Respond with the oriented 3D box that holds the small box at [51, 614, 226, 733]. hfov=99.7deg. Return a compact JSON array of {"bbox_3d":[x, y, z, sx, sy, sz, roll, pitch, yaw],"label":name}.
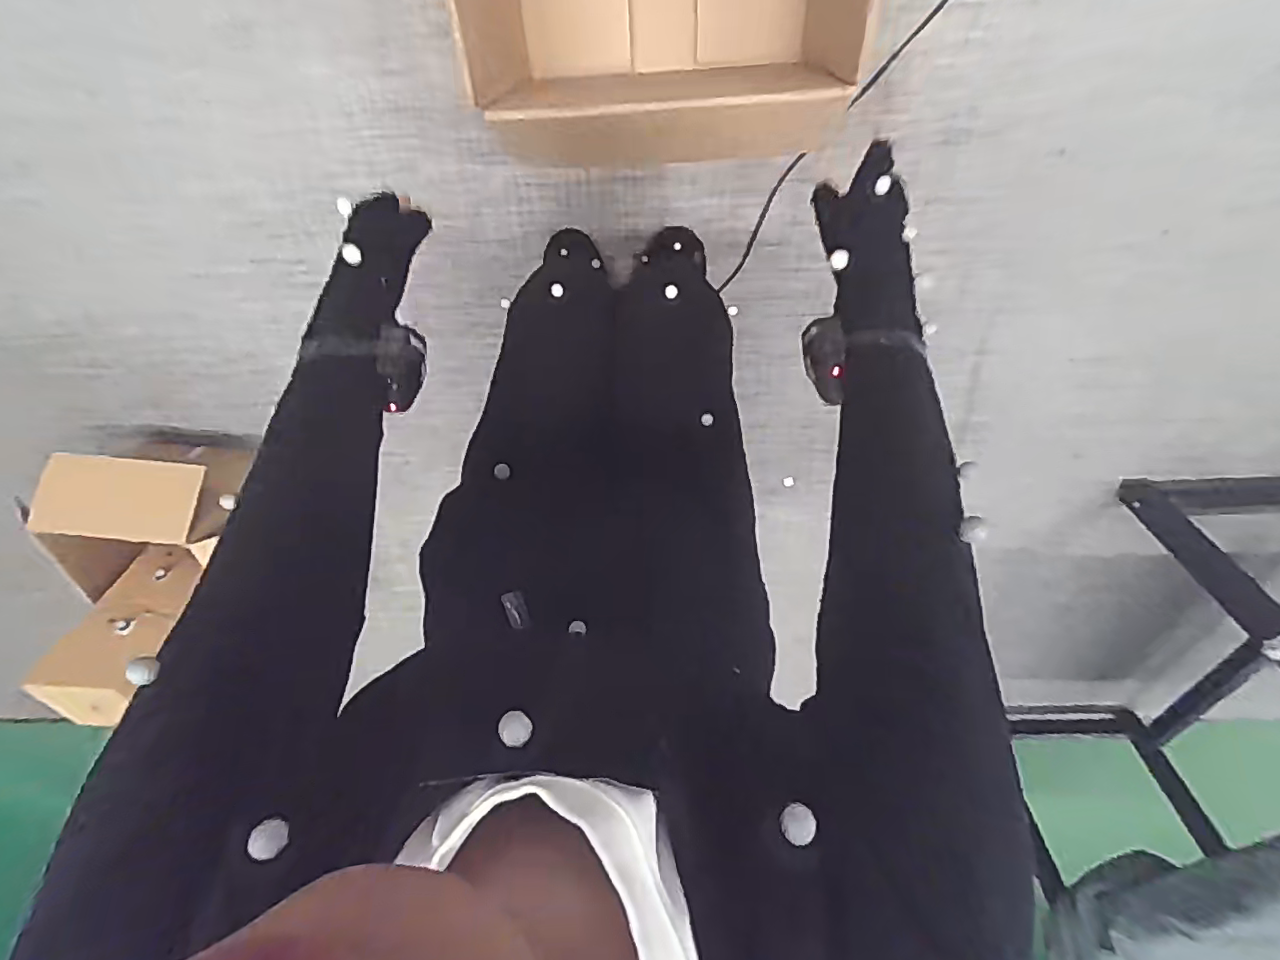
[{"bbox_3d":[-1.014,0.400,1.117,0.168,0.176,0.179,3,132,-2],"label":"small box"}]
